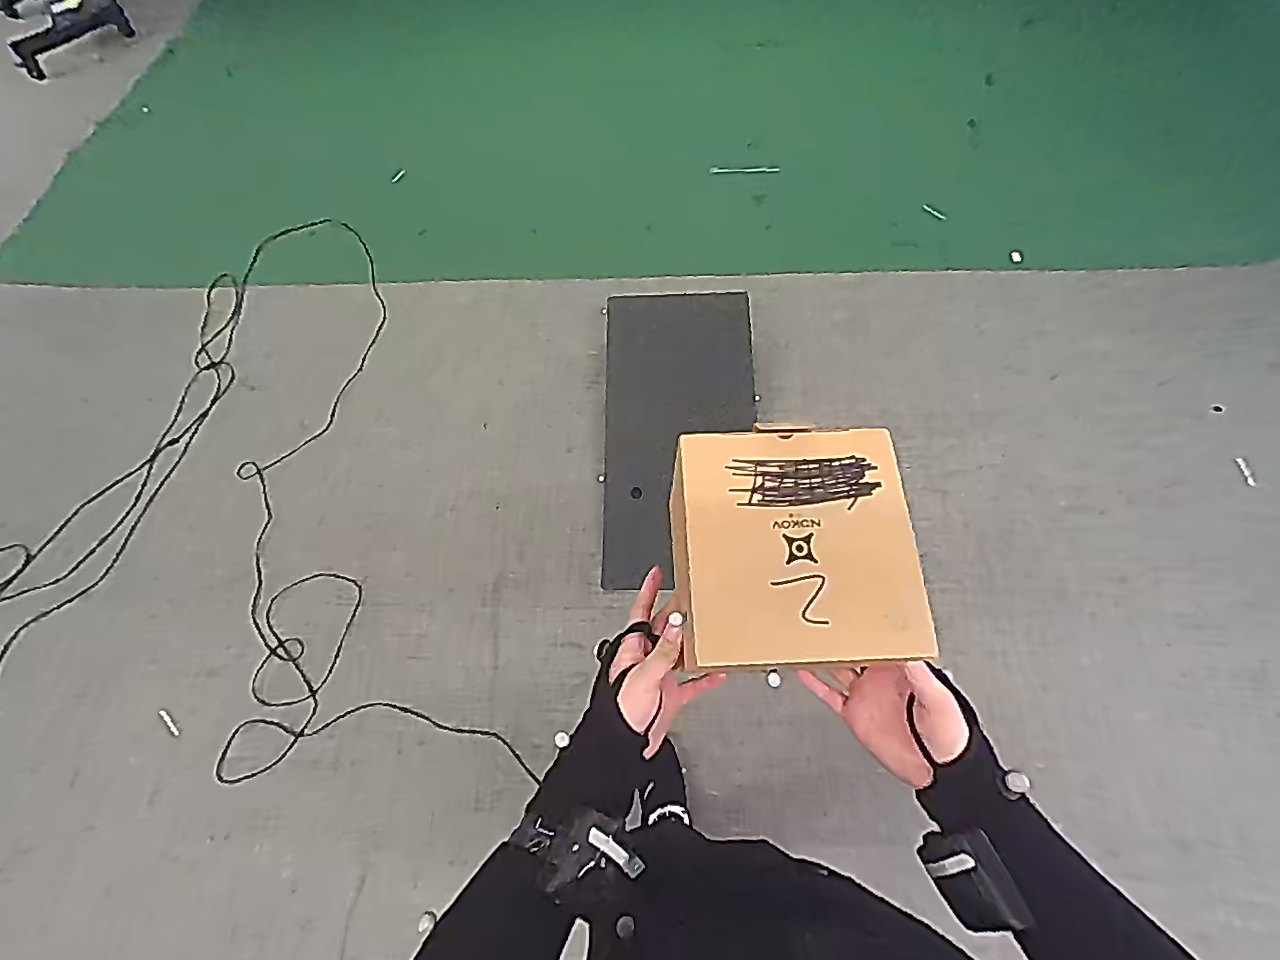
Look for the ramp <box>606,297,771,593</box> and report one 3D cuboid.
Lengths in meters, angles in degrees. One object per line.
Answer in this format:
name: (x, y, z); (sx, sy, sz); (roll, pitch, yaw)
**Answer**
ramp: (0.140, -0.148, 1.729); (0.509, 0.206, 0.991); (-2, 63, 1)
